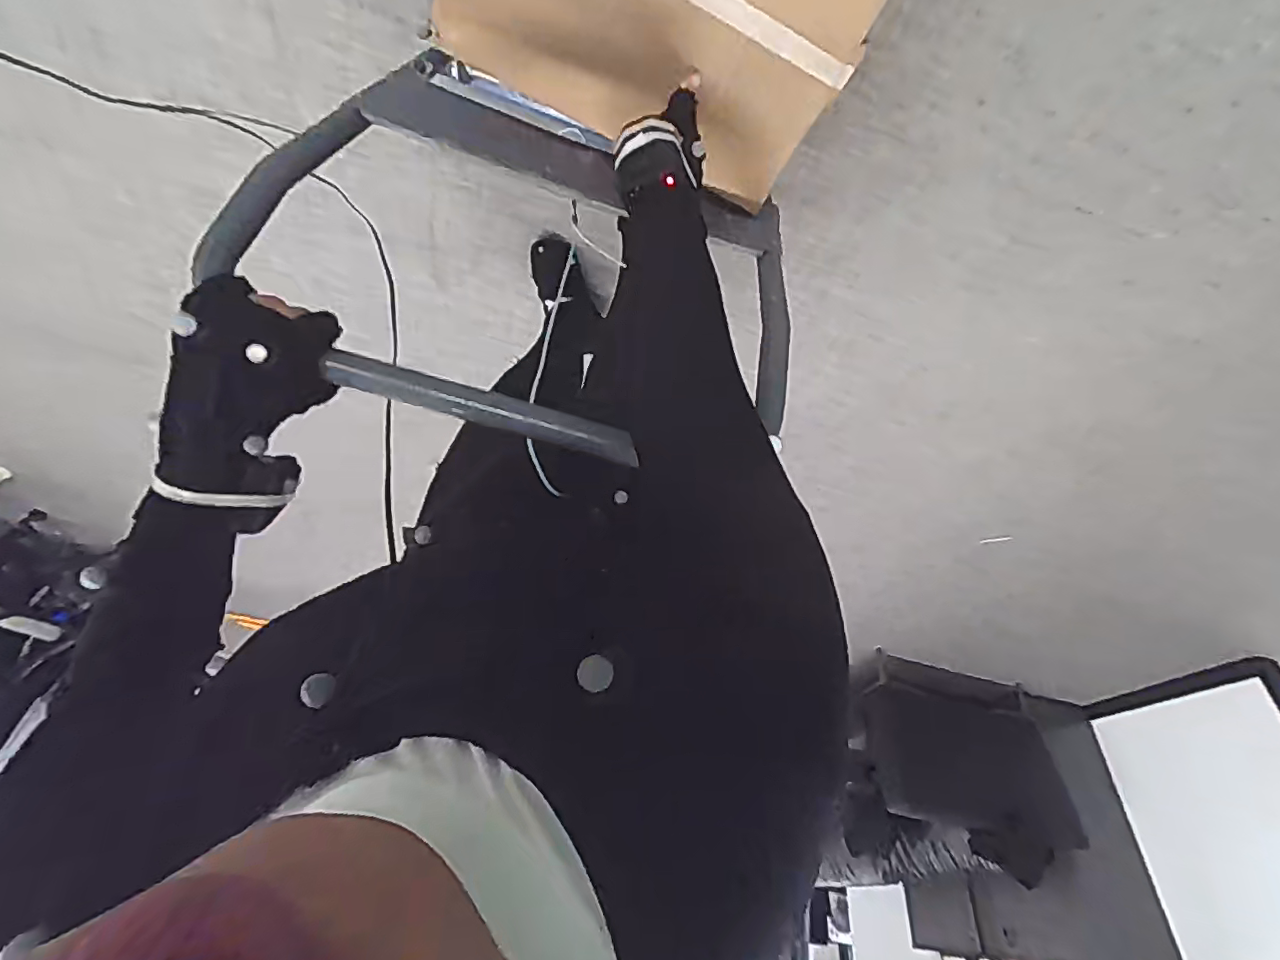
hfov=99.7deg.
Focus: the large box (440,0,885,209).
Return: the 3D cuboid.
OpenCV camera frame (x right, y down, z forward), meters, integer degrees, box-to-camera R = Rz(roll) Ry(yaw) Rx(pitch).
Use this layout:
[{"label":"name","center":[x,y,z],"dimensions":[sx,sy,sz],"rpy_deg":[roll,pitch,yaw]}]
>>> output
[{"label":"large box","center":[0.045,-0.591,0.597],"dimensions":[0.408,0.320,0.320],"rpy_deg":[21,140,-13]}]
